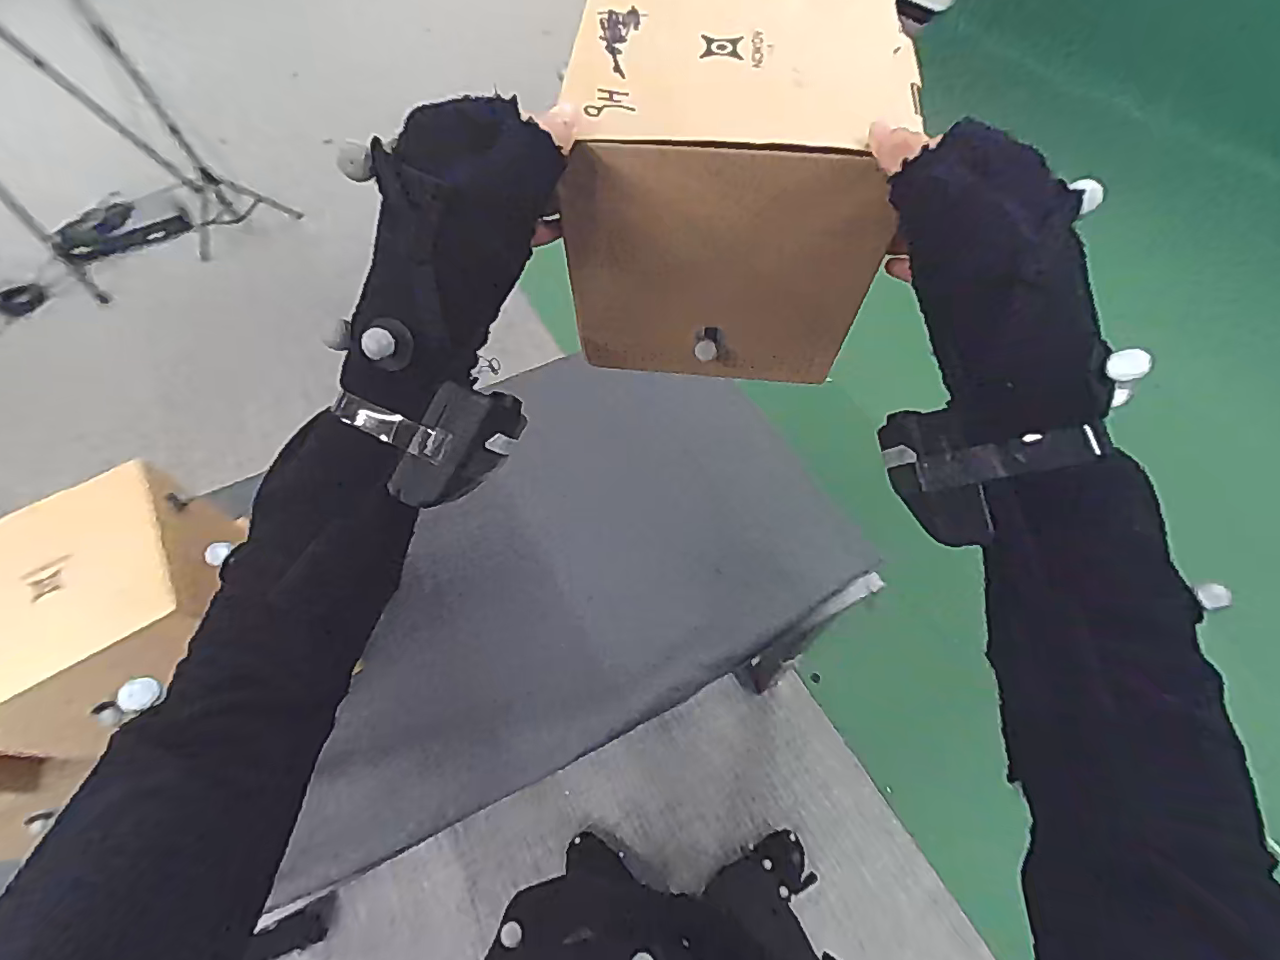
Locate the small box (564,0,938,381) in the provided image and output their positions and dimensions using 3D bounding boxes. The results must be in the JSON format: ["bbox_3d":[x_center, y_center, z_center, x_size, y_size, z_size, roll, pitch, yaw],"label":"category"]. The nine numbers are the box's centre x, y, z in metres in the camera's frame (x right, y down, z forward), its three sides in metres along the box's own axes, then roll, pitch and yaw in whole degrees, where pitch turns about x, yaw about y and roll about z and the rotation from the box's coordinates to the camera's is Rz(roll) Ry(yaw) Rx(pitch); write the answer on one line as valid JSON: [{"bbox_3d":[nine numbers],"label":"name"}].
[{"bbox_3d":[0.059,-0.183,0.355,0.179,0.176,0.168,6,63,3],"label":"small box"}]

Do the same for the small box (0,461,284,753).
[{"bbox_3d":[-0.466,0.122,0.490,0.168,0.176,0.179,-31,62,-18],"label":"small box"}]
